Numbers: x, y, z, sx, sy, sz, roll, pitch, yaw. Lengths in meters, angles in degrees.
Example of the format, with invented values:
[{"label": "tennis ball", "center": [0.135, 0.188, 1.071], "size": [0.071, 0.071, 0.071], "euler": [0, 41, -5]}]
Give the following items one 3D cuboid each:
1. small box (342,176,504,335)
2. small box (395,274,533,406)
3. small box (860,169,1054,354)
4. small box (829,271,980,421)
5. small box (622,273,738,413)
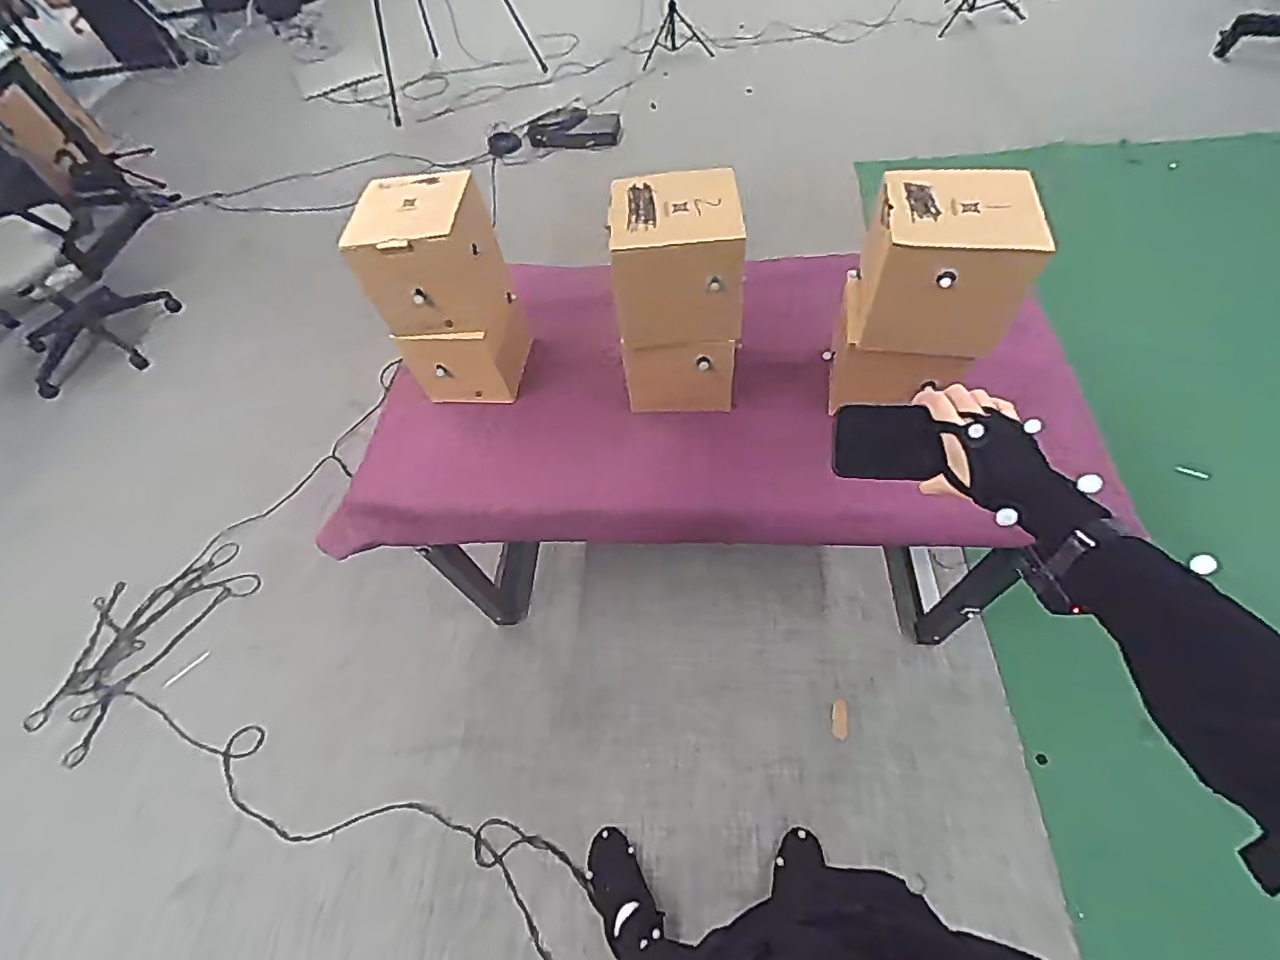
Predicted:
[{"label": "small box", "center": [-0.328, -0.347, 0.861], "size": [0.168, 0.176, 0.179], "euler": [-3, 57, 5]}, {"label": "small box", "center": [-0.310, -0.251, 0.993], "size": [0.168, 0.176, 0.179], "euler": [1, 57, 9]}, {"label": "small box", "center": [0.398, -0.286, 0.720], "size": [0.179, 0.176, 0.168], "euler": [6, 58, 11]}, {"label": "small box", "center": [0.410, -0.210, 0.865], "size": [0.179, 0.176, 0.168], "euler": [6, 58, 13]}, {"label": "small box", "center": [0.075, -0.228, 0.922], "size": [0.179, 0.176, 0.168], "euler": [1, 57, 9]}]
